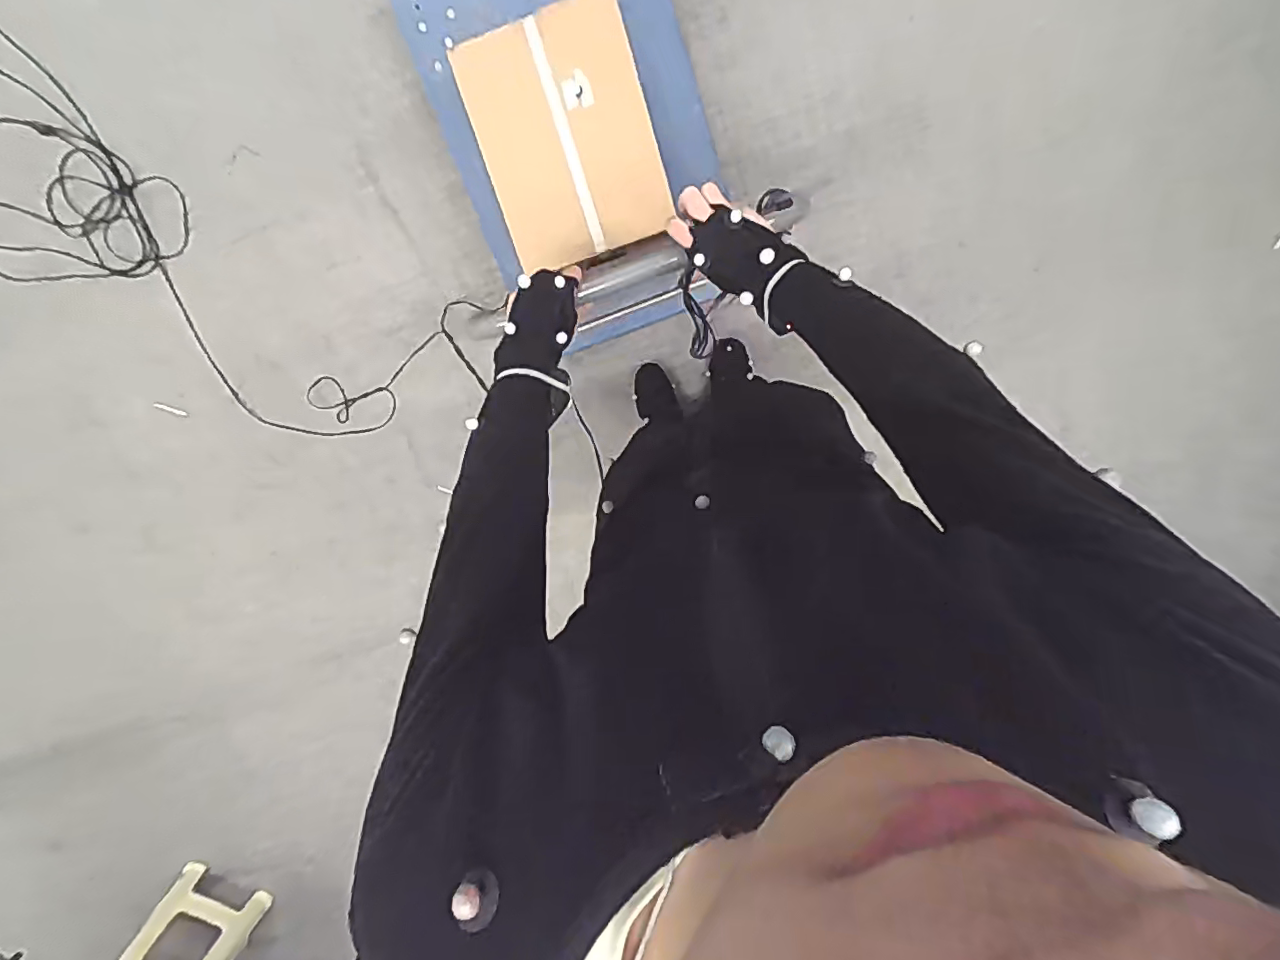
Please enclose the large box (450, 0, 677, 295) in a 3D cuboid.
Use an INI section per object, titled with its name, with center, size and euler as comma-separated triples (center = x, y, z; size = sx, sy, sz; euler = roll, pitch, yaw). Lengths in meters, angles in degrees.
[large box]
center = -0.130, -0.646, 1.139
size = 0.320, 0.320, 0.408
euler = -17, 104, 5
